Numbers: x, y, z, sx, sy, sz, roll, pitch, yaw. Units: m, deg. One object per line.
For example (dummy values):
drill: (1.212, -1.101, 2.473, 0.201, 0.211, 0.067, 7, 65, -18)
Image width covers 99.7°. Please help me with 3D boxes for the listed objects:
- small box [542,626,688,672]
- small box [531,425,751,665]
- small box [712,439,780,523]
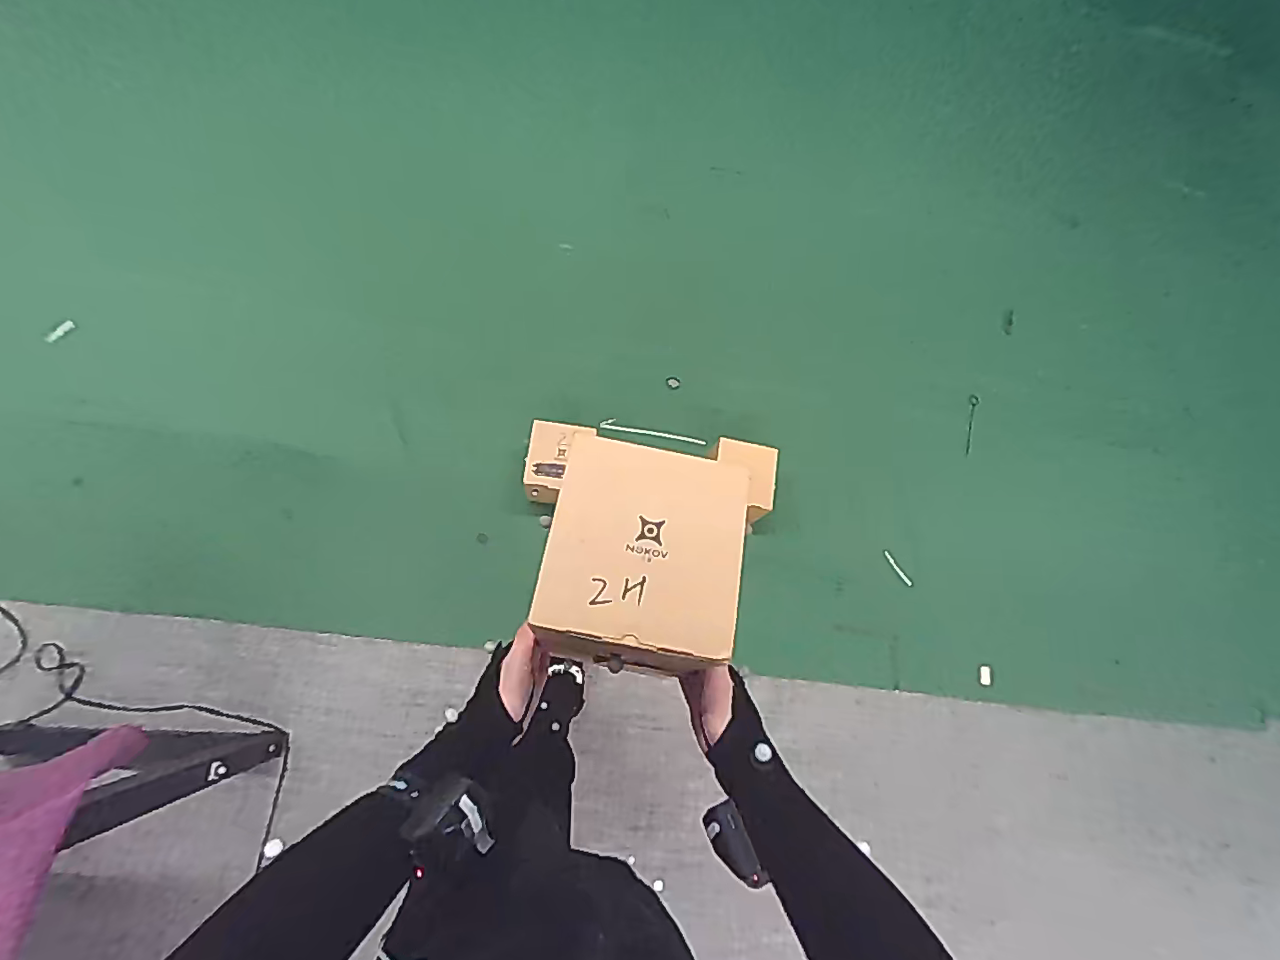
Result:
small box: (-0.018, 0.137, 0.682, 0.168, 0.176, 0.179, 12, 67, -2)
small box: (-0.002, 0.074, 0.530, 0.168, 0.176, 0.179, 12, 68, -2)
small box: (0.272, 0.008, 1.499, 0.168, 0.176, 0.179, 12, 73, -5)
